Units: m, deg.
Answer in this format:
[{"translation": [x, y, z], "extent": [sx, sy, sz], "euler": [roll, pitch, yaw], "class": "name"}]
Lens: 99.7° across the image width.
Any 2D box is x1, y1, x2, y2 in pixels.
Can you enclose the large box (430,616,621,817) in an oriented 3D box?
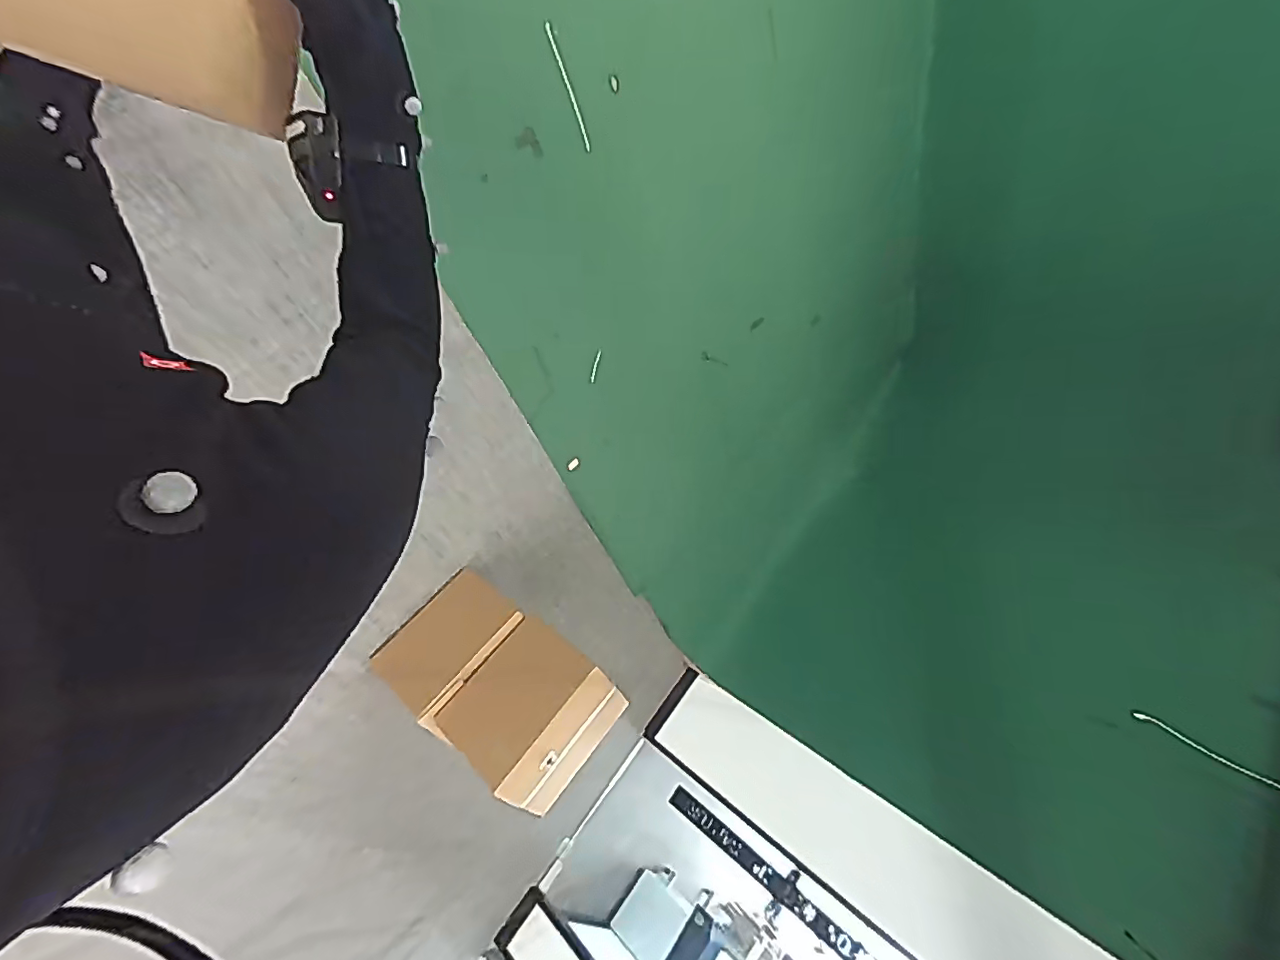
[{"translation": [-0.326, 0.694, 1.613], "extent": [0.408, 0.320, 0.320], "euler": [-47, 141, -22], "class": "large box"}]
